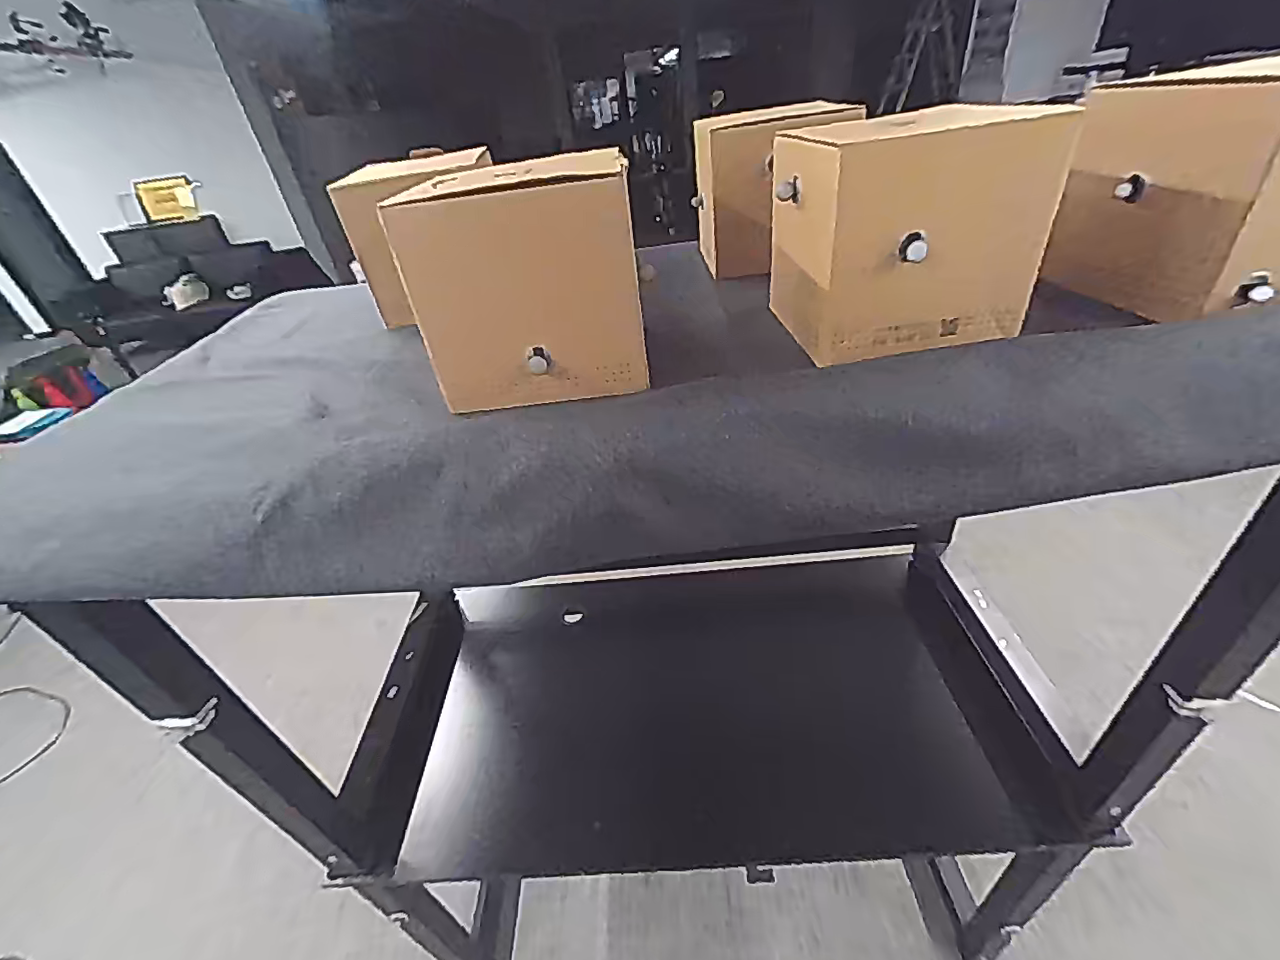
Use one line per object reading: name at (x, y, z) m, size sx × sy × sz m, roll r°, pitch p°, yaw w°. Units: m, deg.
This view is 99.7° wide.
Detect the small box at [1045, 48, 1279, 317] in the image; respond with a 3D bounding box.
small box at (0.491, -0.244, 0.446) m, size 0.168 × 0.176 × 0.179 m, roll -10°, pitch 34°, yaw -1°

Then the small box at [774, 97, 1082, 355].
small box at (0.218, -0.216, 0.470) m, size 0.168 × 0.176 × 0.179 m, roll -7°, pitch 35°, yaw 2°

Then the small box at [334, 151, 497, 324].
small box at (-0.259, -0.320, 0.712) m, size 0.168 × 0.176 × 0.179 m, roll -11°, pitch 36°, yaw -1°

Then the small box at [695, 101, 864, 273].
small box at (0.171, -0.379, 0.704) m, size 0.179 × 0.176 × 0.168 m, roll -6°, pitch 36°, yaw 4°

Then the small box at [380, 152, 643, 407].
small box at (-0.090, -0.180, 0.483) m, size 0.179 × 0.176 × 0.168 m, roll -6°, pitch 35°, yaw 2°
